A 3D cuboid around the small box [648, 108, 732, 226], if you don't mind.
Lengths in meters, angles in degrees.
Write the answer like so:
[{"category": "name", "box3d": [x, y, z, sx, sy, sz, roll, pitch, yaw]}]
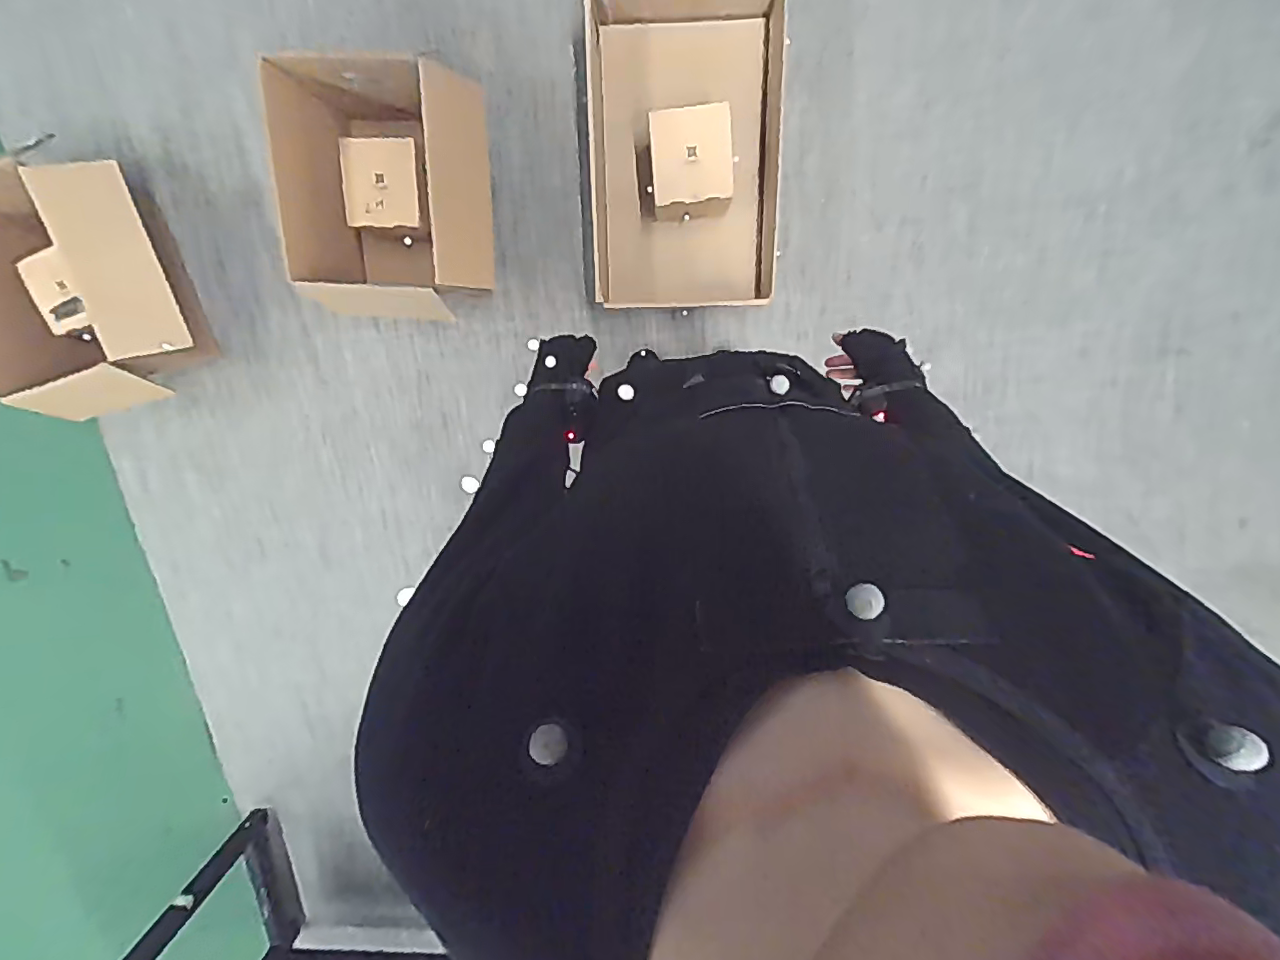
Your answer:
[{"category": "small box", "box3d": [0.105, -0.672, 1.179, 0.168, 0.176, 0.179, -5, 104, 4]}]
